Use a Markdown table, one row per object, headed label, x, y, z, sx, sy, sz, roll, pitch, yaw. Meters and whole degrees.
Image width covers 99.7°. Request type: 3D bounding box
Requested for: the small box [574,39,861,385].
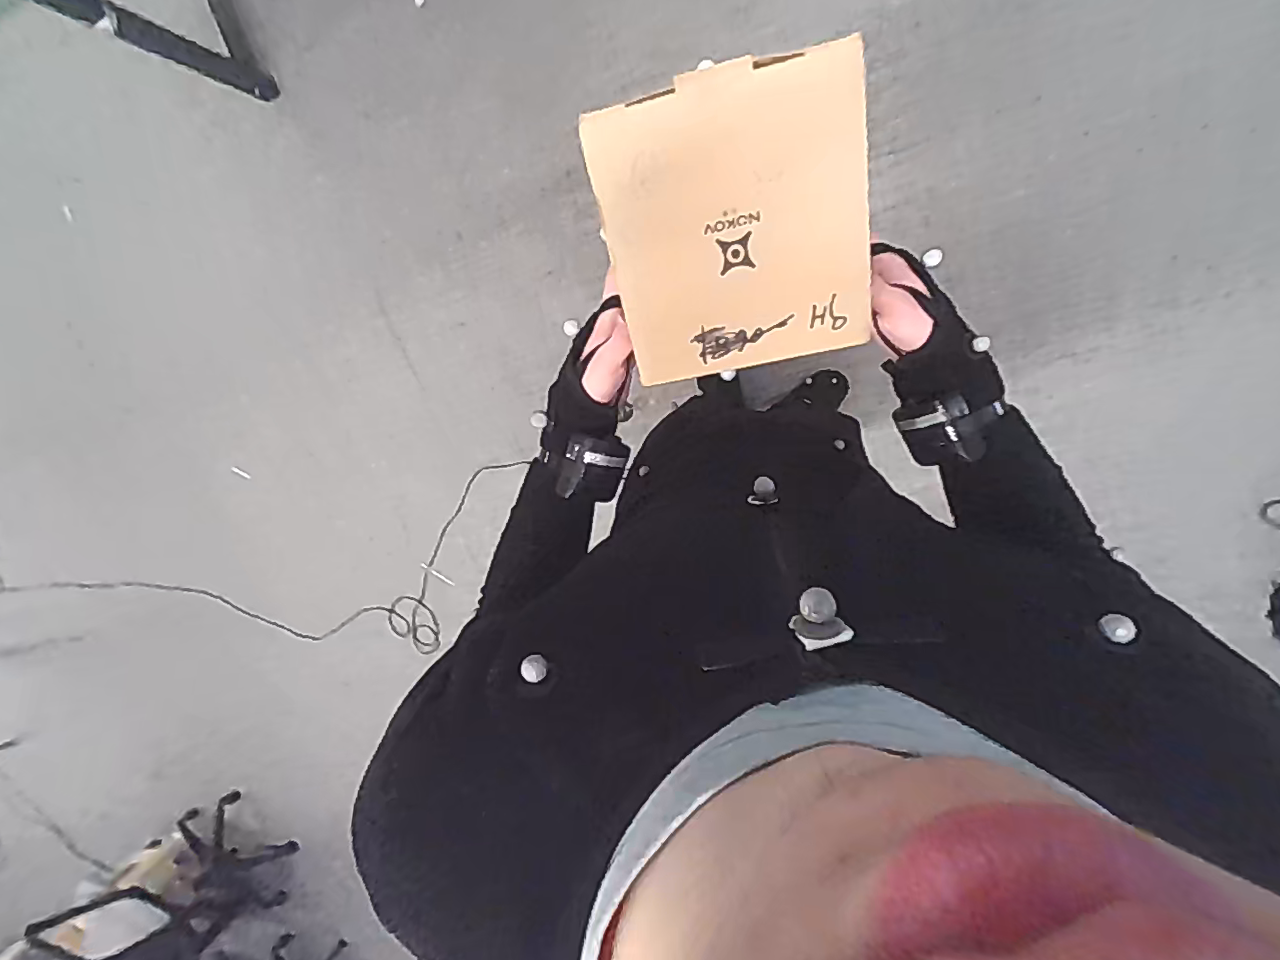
| label | x | y | z | sx | sy | sz | roll | pitch | yaw |
| --- | --- | --- | --- | --- | --- | --- | --- | --- | --- |
| small box | 0.062 | -0.196 | 0.419 | 0.168 | 0.176 | 0.179 | -9 | 119 | 11 |
